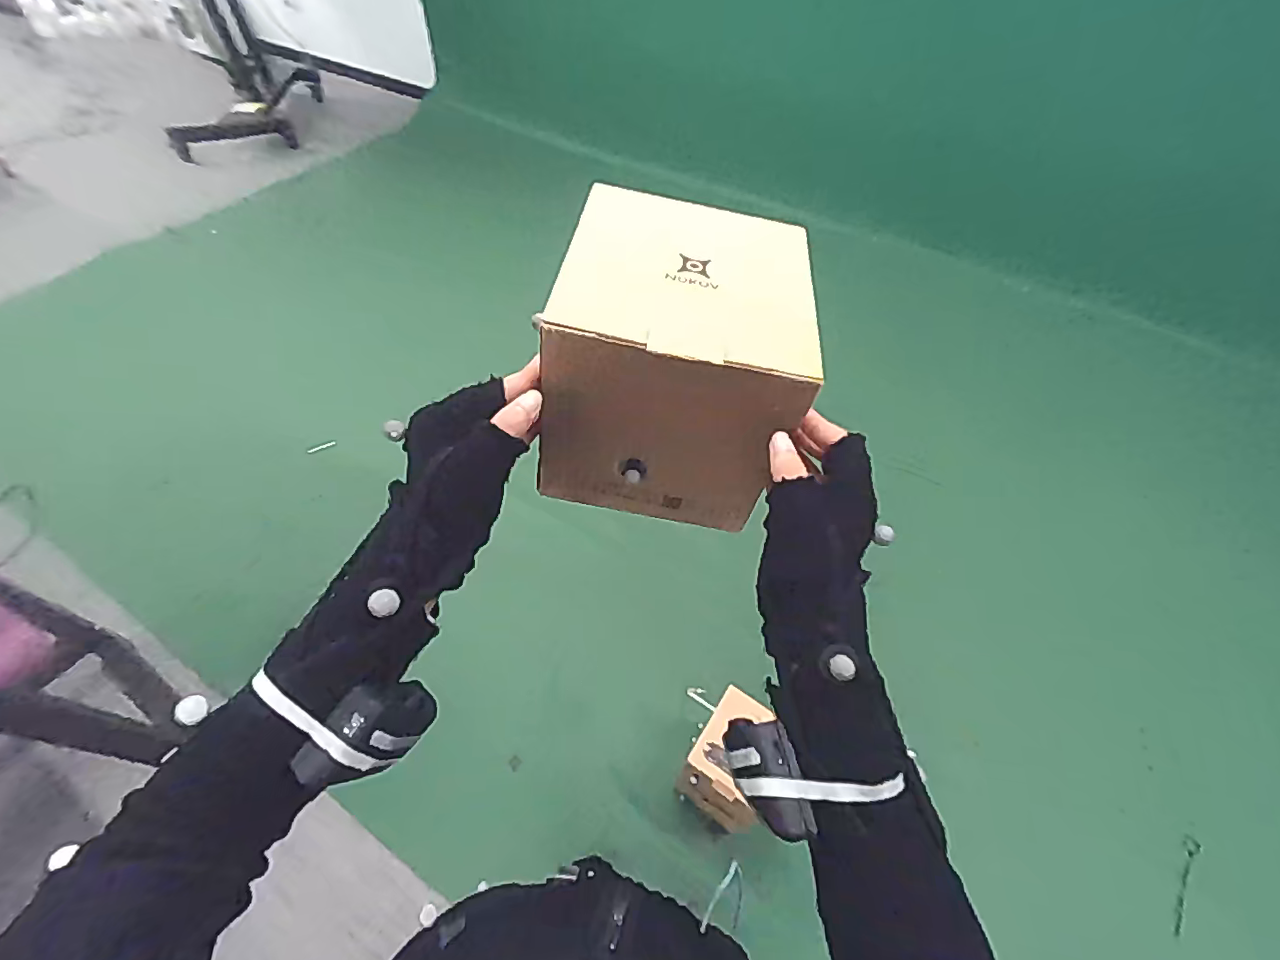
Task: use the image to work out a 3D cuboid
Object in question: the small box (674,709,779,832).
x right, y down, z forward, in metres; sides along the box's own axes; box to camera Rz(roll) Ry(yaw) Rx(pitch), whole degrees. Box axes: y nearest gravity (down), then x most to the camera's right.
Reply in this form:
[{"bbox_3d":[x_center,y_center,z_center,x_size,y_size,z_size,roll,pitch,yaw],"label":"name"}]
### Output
[{"bbox_3d":[0.189,0.663,1.227,0.168,0.176,0.179,31,58,19],"label":"small box"}]
